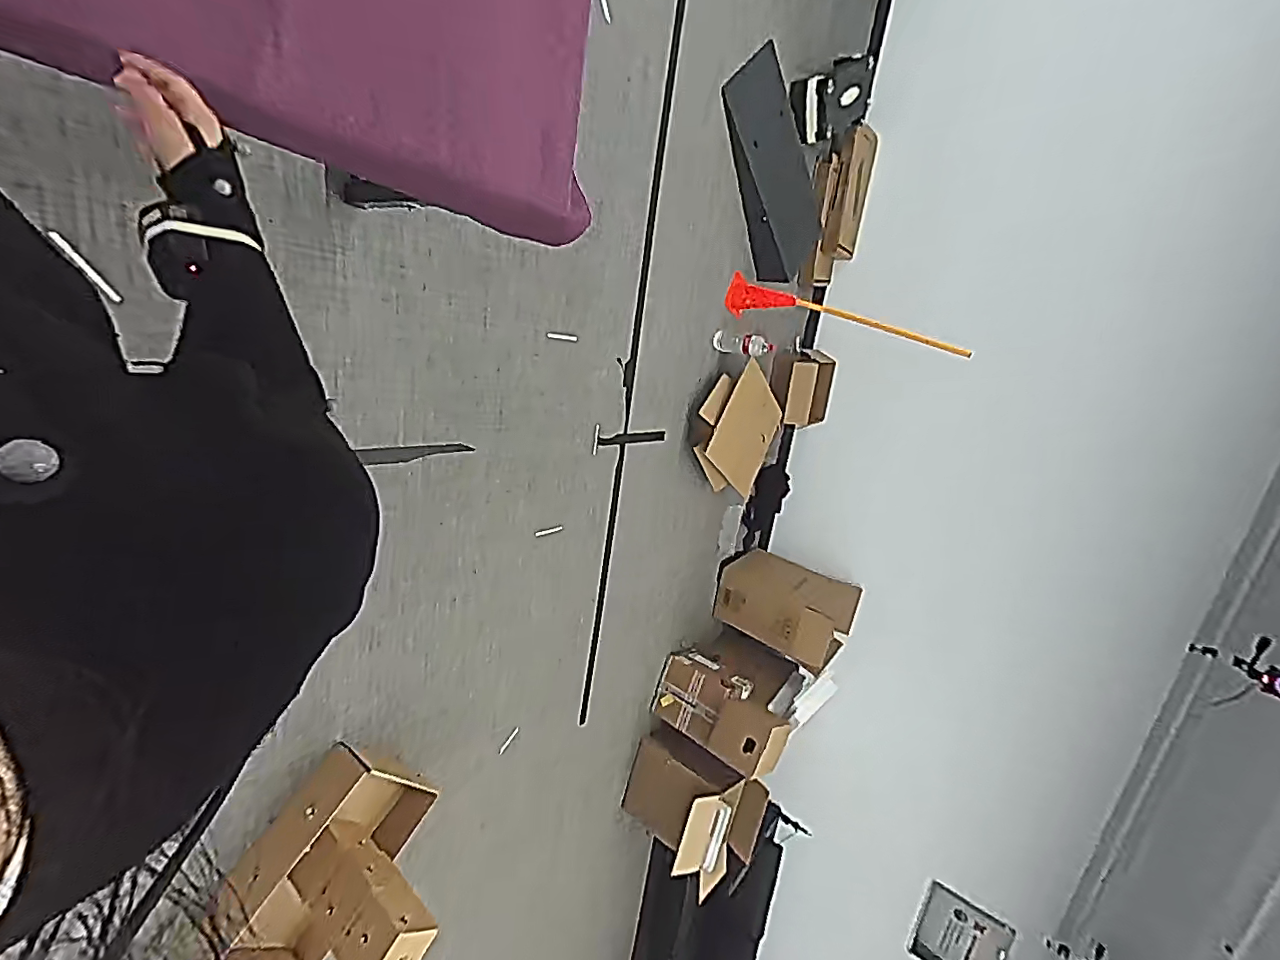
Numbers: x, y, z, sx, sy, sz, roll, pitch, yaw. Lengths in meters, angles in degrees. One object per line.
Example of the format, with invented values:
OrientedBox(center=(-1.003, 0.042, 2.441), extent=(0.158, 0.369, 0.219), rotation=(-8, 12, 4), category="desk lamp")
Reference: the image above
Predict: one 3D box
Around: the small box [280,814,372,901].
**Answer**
OrientedBox(center=(-0.994, 1.204, 1.725), extent=(0.168, 0.176, 0.179), rotation=(-54, 143, -23), category="small box")

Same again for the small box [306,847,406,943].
OrientedBox(center=(-0.863, 1.248, 1.639), extent=(0.168, 0.176, 0.179), rotation=(-55, 145, -19), category="small box")

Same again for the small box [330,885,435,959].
OrientedBox(center=(-0.737, 1.299, 1.544), extent=(0.168, 0.176, 0.179), rotation=(-55, 143, -18), category="small box")
